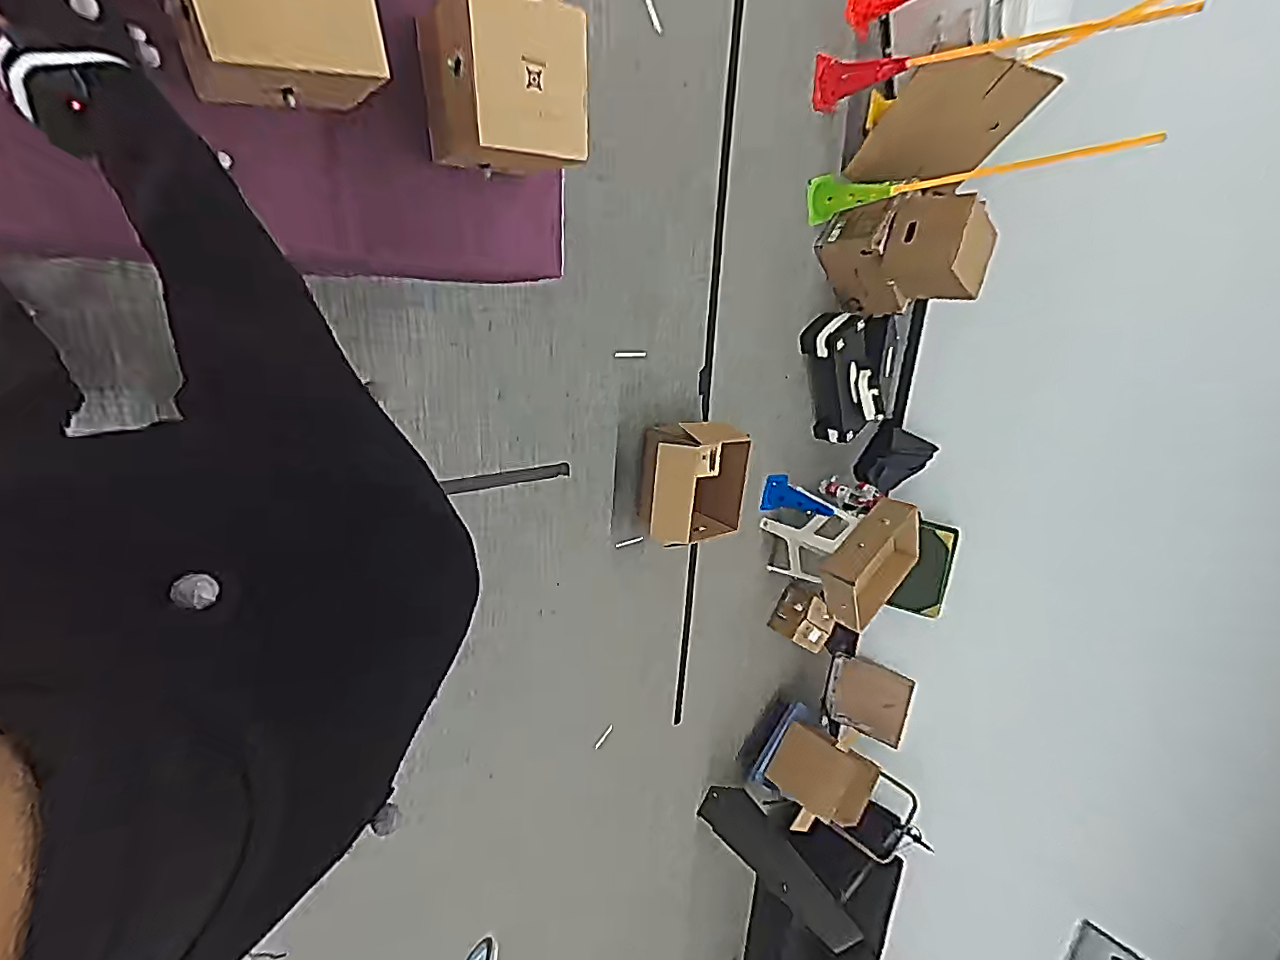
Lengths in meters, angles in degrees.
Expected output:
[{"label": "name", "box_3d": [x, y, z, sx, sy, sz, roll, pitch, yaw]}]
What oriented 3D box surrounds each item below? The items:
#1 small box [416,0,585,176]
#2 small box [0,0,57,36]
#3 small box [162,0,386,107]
[{"label": "small box", "box_3d": [-0.194, -0.541, 0.750, 0.168, 0.176, 0.179, -17, 116, -37]}, {"label": "small box", "box_3d": [-0.588, -0.482, 0.406, 0.168, 0.176, 0.179, -17, 118, -38]}, {"label": "small box", "box_3d": [-0.397, -0.515, 0.570, 0.168, 0.176, 0.179, -24, 121, -35]}]
